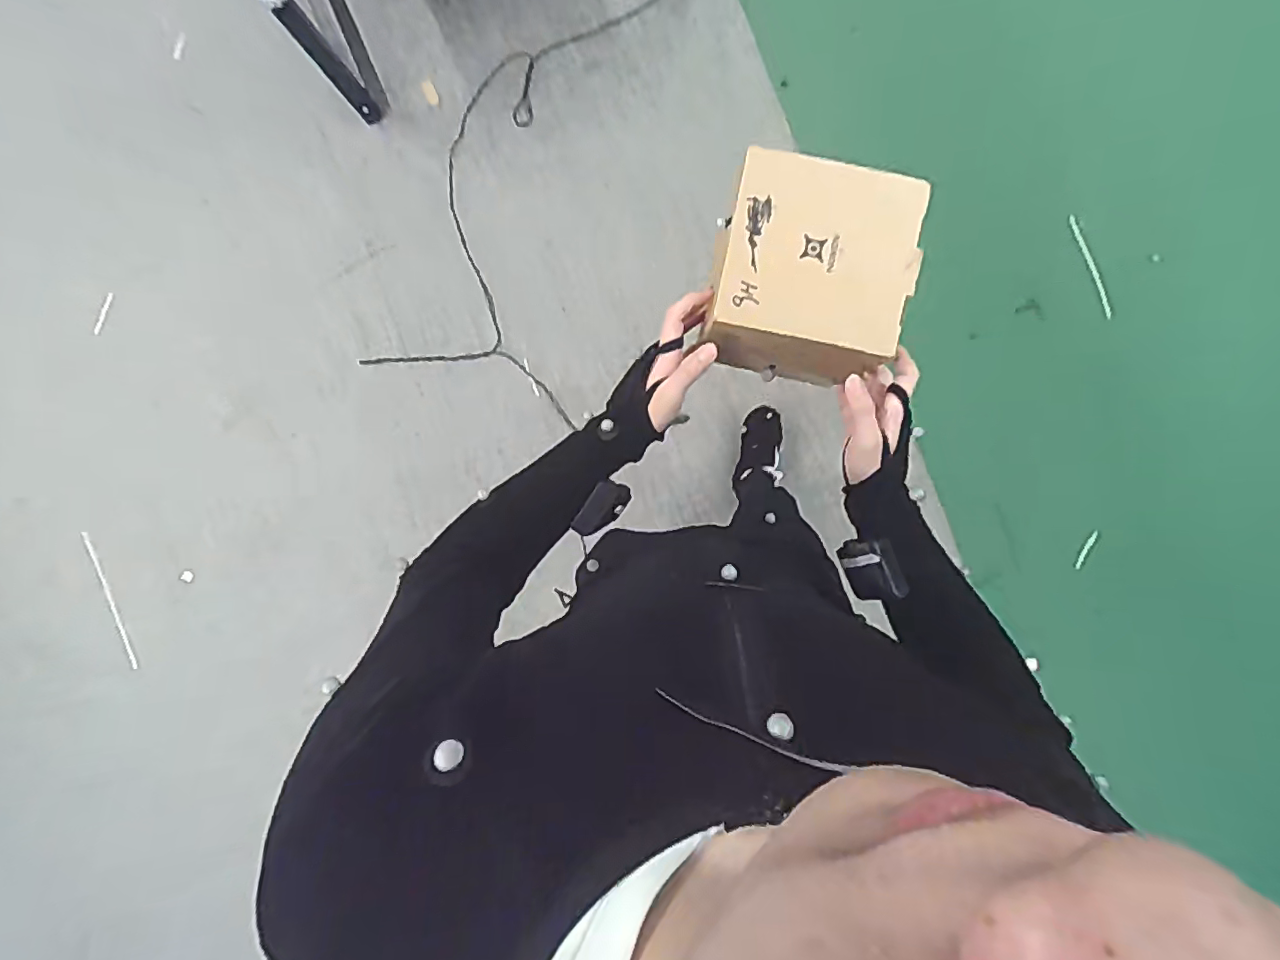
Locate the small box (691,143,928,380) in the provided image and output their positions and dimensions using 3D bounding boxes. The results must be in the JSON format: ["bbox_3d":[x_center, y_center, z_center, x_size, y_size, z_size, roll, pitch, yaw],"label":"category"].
[{"bbox_3d":[0.164,-0.212,0.577,0.179,0.176,0.168,12,89,-2],"label":"small box"}]
